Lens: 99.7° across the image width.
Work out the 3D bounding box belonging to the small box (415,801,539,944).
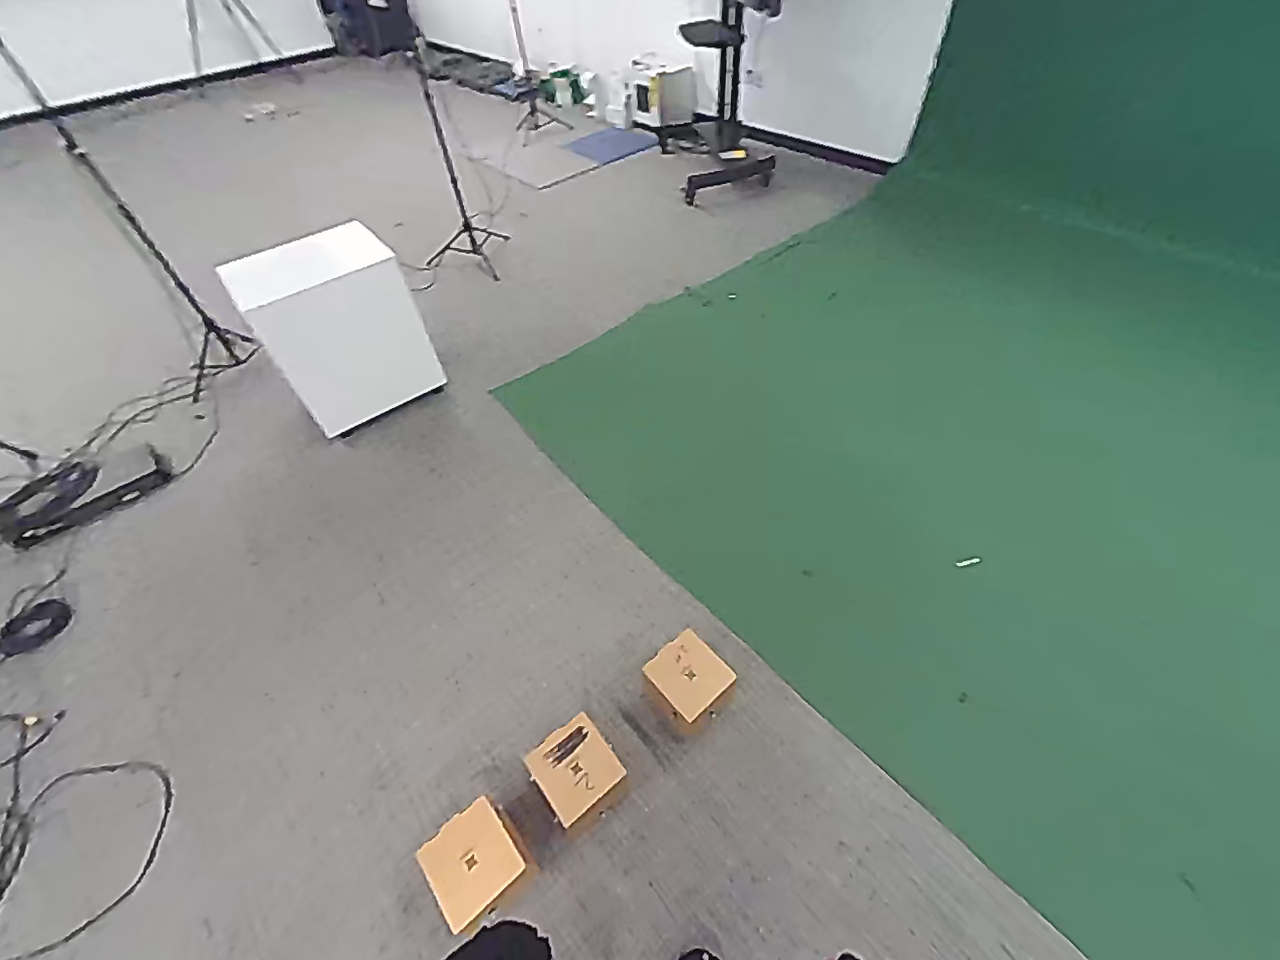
[{"bbox_3d":[-0.334,0.822,1.137,0.168,0.176,0.179,-35,55,-24],"label":"small box"}]

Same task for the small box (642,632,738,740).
[{"bbox_3d":[0.123,0.527,1.364,0.168,0.176,0.179,-34,55,-24],"label":"small box"}]
